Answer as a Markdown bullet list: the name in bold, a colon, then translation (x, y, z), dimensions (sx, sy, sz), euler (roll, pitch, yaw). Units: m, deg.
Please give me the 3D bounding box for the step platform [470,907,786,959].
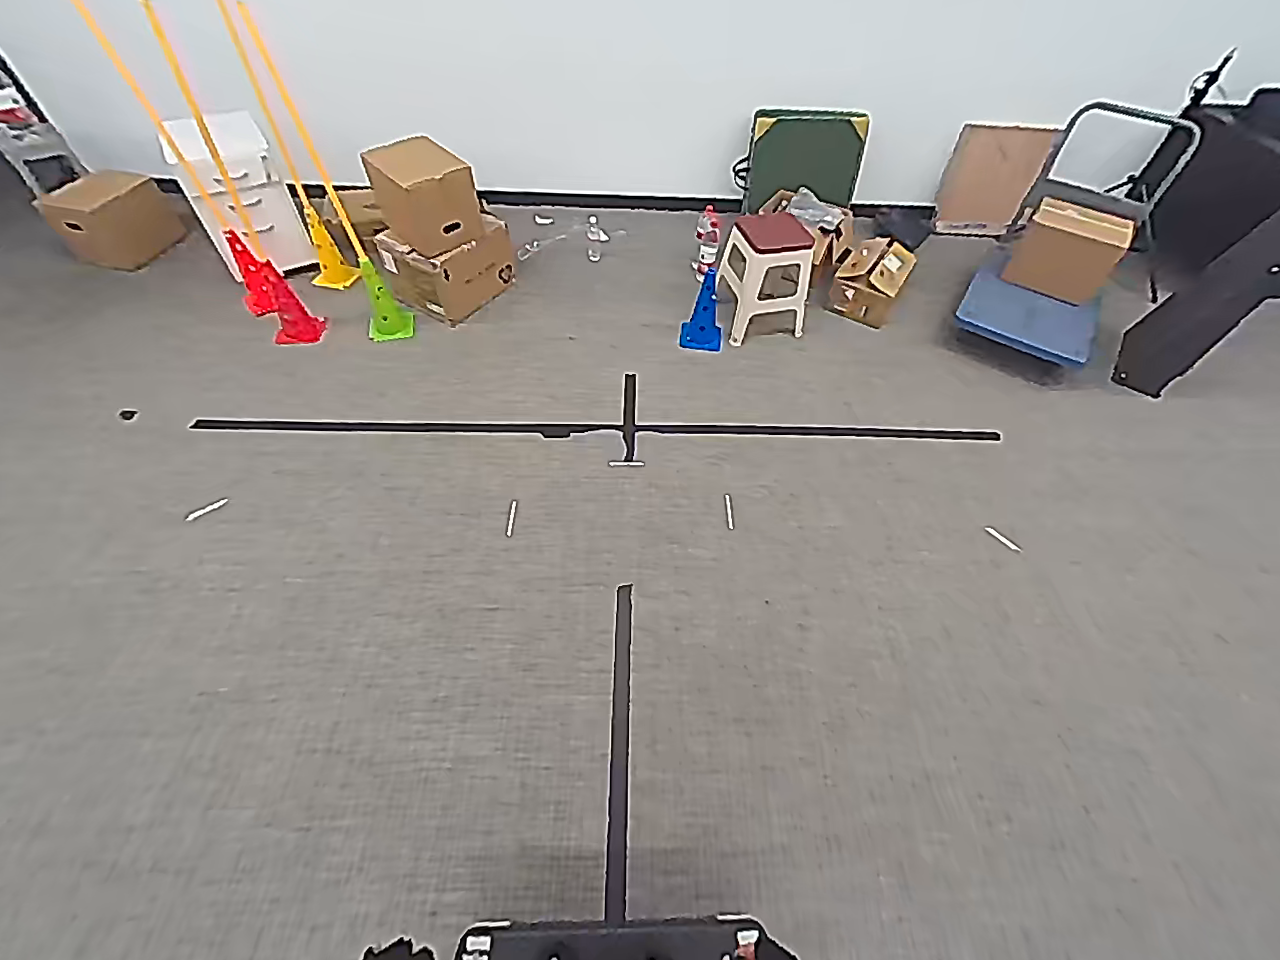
- **step platform**: translation (-0.024, 1.090, 1.135), dimensions (0.684, 0.204, 0.286), euler (1, 52, -4)
